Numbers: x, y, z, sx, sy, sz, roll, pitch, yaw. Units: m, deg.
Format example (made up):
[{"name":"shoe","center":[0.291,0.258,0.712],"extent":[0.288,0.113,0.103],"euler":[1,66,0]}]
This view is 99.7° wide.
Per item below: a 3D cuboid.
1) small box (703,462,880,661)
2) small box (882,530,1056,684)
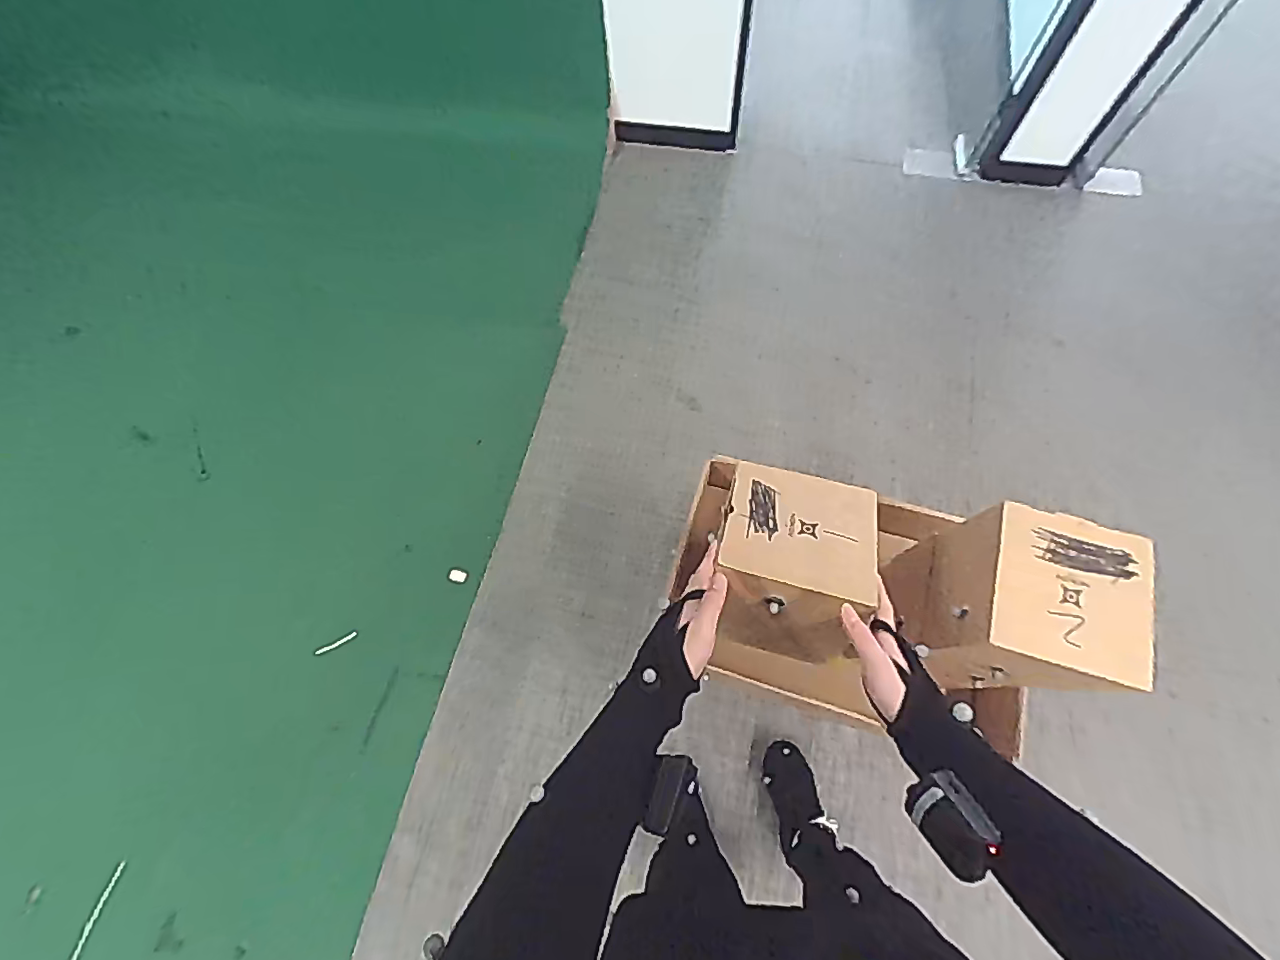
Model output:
[{"name":"small box","center":[0.183,0.106,0.682],"extent":[0.179,0.176,0.168],"euler":[13,49,8]},{"name":"small box","center":[0.492,0.200,0.830],"extent":[0.168,0.176,0.179],"euler":[16,71,9]}]
